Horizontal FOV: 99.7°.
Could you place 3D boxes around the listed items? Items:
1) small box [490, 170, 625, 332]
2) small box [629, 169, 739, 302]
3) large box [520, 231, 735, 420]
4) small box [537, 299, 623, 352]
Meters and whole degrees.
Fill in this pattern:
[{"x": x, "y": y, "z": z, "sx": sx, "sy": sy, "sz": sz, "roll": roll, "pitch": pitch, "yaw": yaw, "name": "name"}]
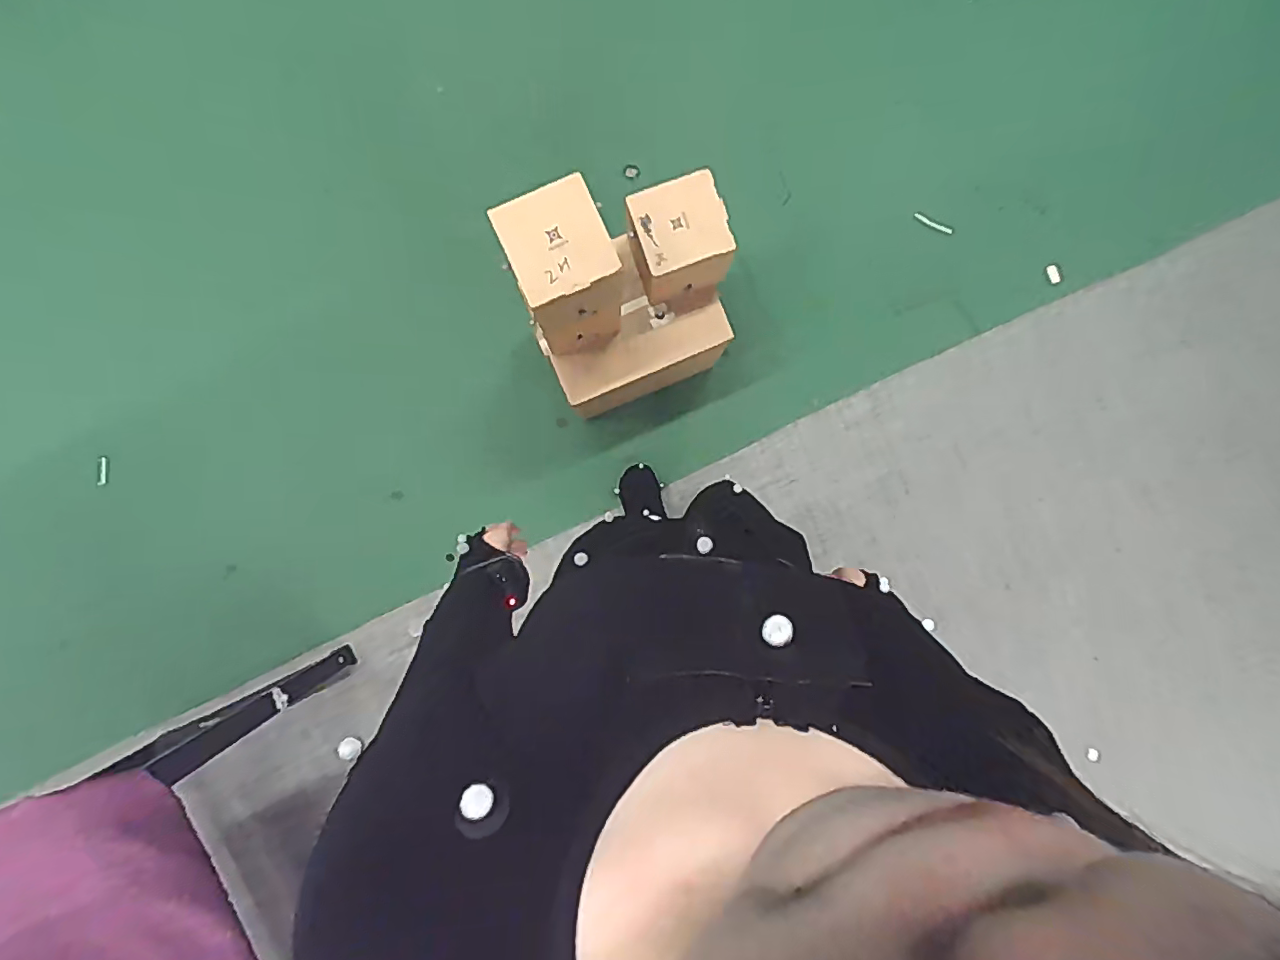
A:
[{"x": -0.136, "y": -0.384, "z": 0.939, "sx": 0.168, "sy": 0.176, "sz": 0.179, "roll": -24, "pitch": 91, "yaw": -2, "name": "small box"}, {"x": 0.082, "y": -0.490, "z": 1.105, "sx": 0.179, "sy": 0.176, "sz": 0.168, "roll": -18, "pitch": 90, "yaw": -1, "name": "small box"}, {"x": -0.032, "y": -0.381, "z": 1.348, "sx": 0.408, "sy": 0.320, "sz": 0.320, "roll": -24, "pitch": 91, "yaw": -2, "name": "large box"}, {"x": -0.144, "y": -0.385, "z": 1.103, "sx": 0.168, "sy": 0.176, "sz": 0.179, "roll": -23, "pitch": 91, "yaw": -2, "name": "small box"}]
